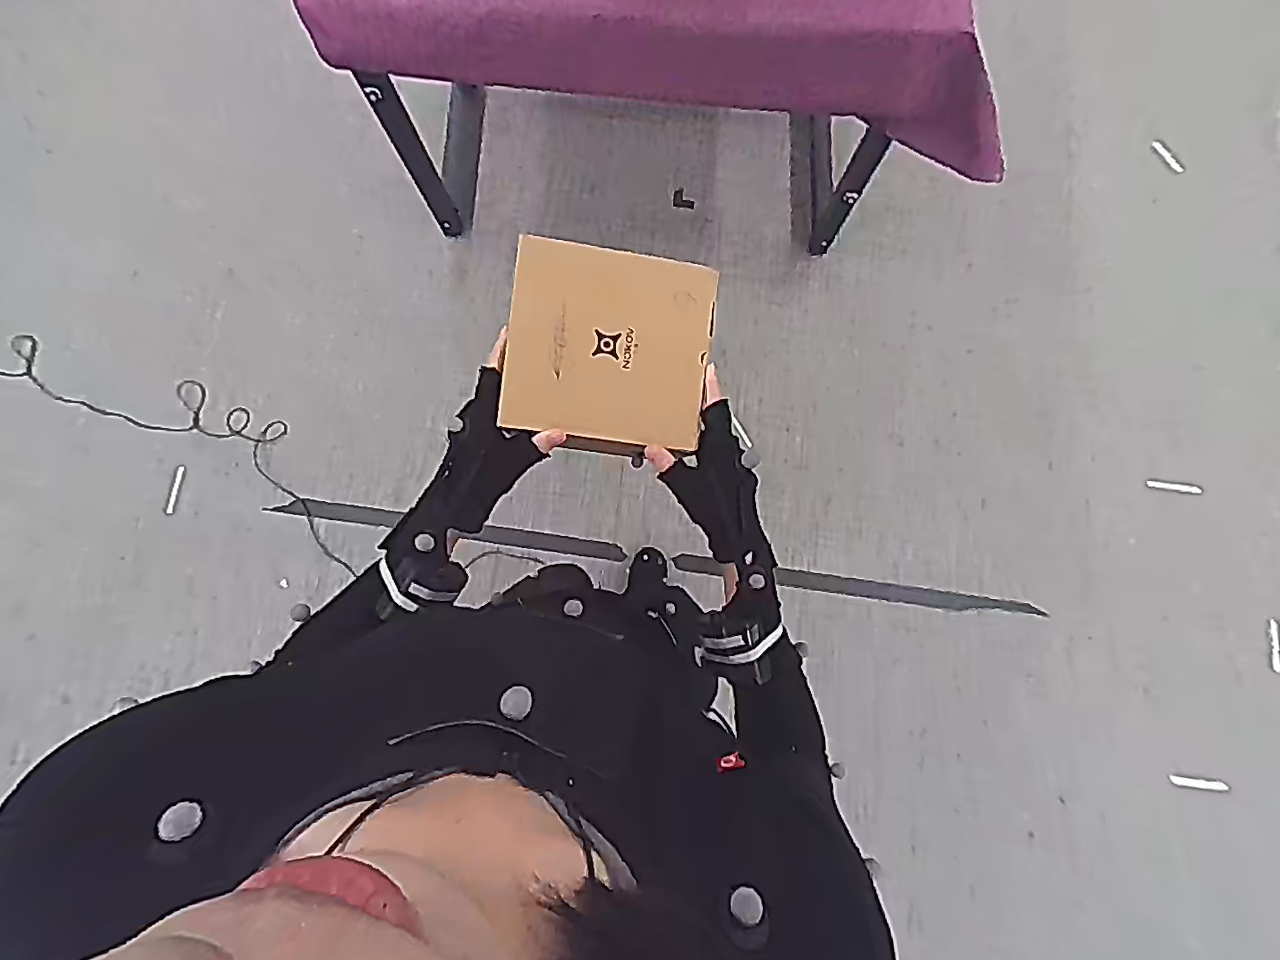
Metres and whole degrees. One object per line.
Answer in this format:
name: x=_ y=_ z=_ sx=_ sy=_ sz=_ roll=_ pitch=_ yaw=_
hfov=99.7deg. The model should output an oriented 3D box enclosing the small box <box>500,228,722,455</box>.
small box: x=-0.032 y=-0.118 z=0.537 sx=0.179 sy=0.176 sz=0.168 roll=6 pitch=87 yaw=-7
